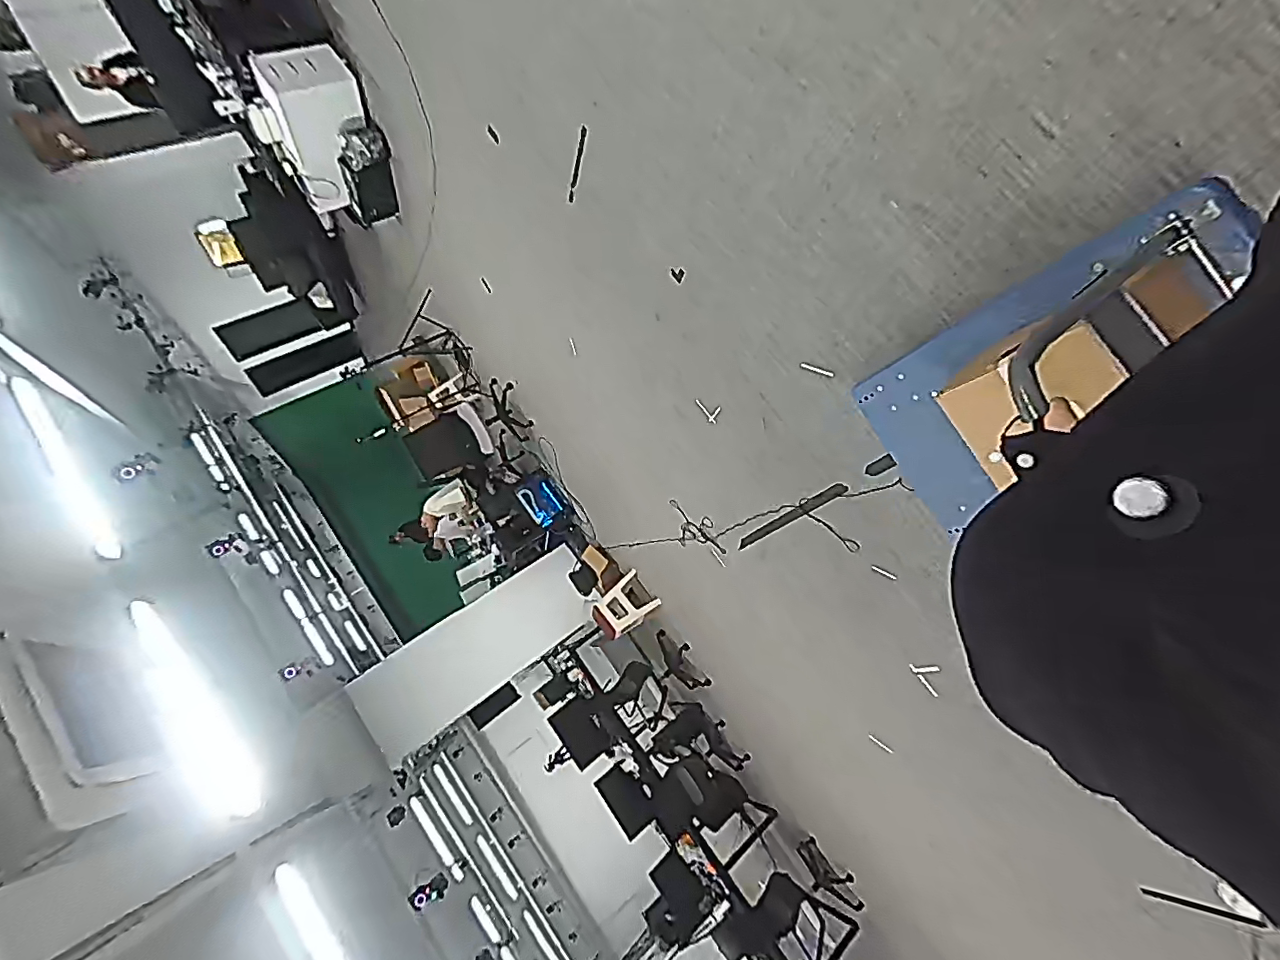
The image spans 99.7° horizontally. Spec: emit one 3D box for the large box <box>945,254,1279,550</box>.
[{"bbox_3d":[0.899,-0.132,1.025,0.408,0.320,0.320,57,156,3],"label":"large box"}]
